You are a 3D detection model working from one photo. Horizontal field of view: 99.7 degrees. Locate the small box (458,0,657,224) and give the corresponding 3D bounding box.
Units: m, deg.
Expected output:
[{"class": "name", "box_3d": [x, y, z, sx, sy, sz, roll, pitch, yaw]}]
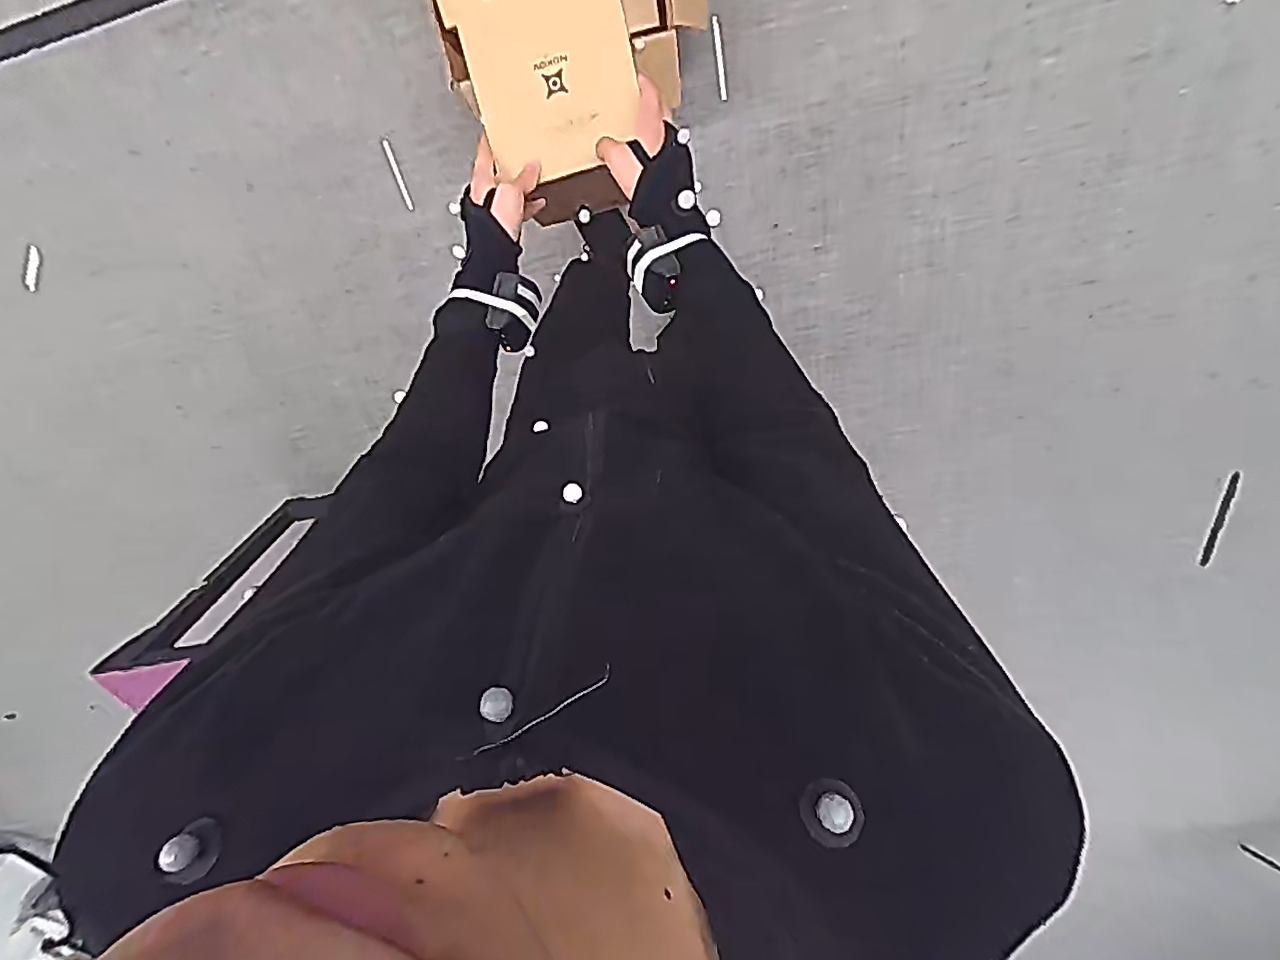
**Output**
[{"class": "small box", "box_3d": [-0.080, -0.424, 0.624, 0.168, 0.176, 0.179, -12, 101, 8]}]
